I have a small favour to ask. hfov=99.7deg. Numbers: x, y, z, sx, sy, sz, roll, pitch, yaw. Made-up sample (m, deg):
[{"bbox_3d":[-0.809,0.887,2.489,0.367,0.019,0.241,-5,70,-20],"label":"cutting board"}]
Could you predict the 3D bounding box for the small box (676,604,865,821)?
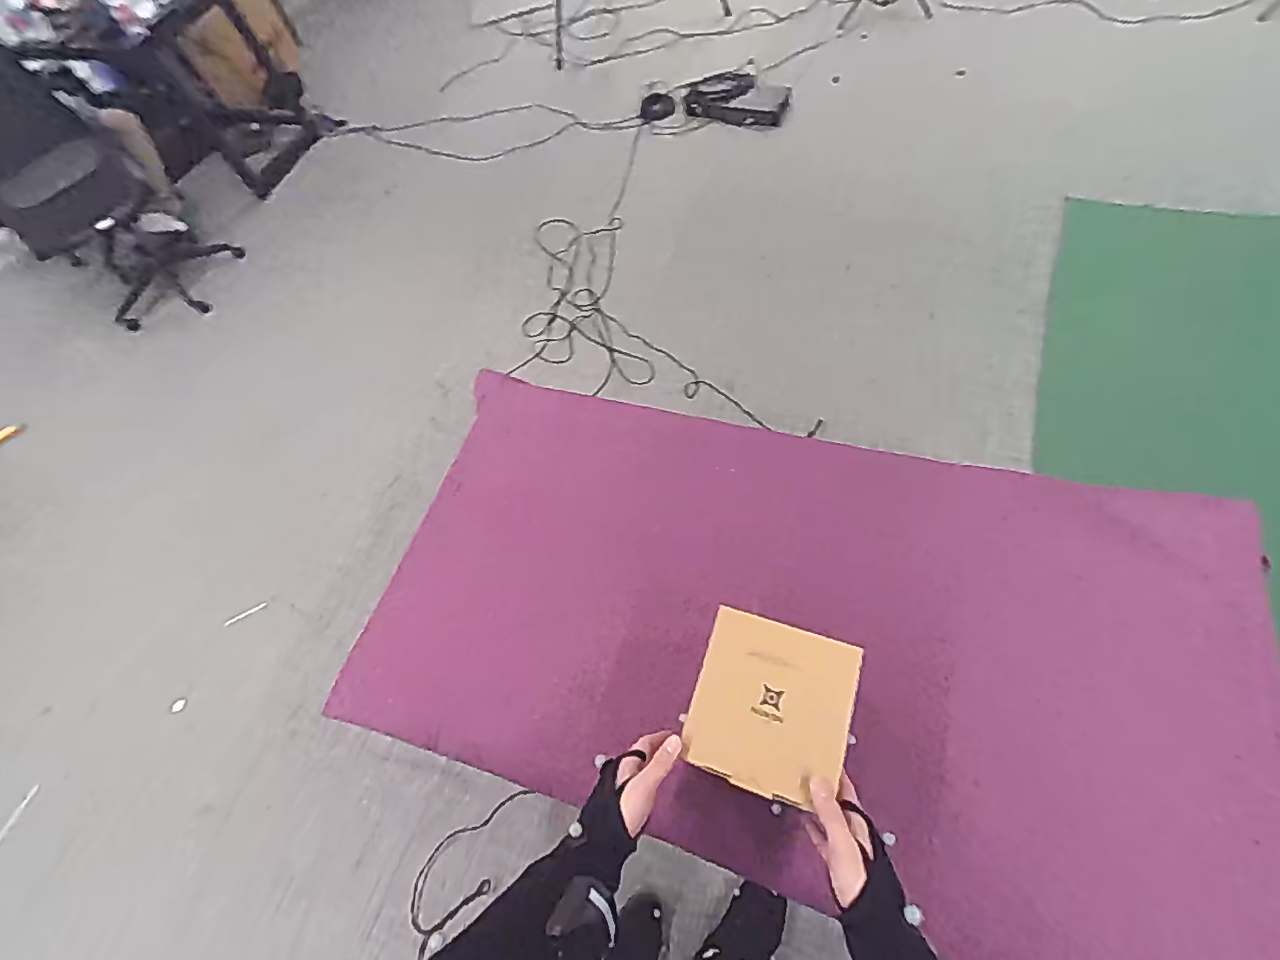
[{"bbox_3d":[0.155,0.277,0.652,0.168,0.176,0.179,15,65,17],"label":"small box"}]
